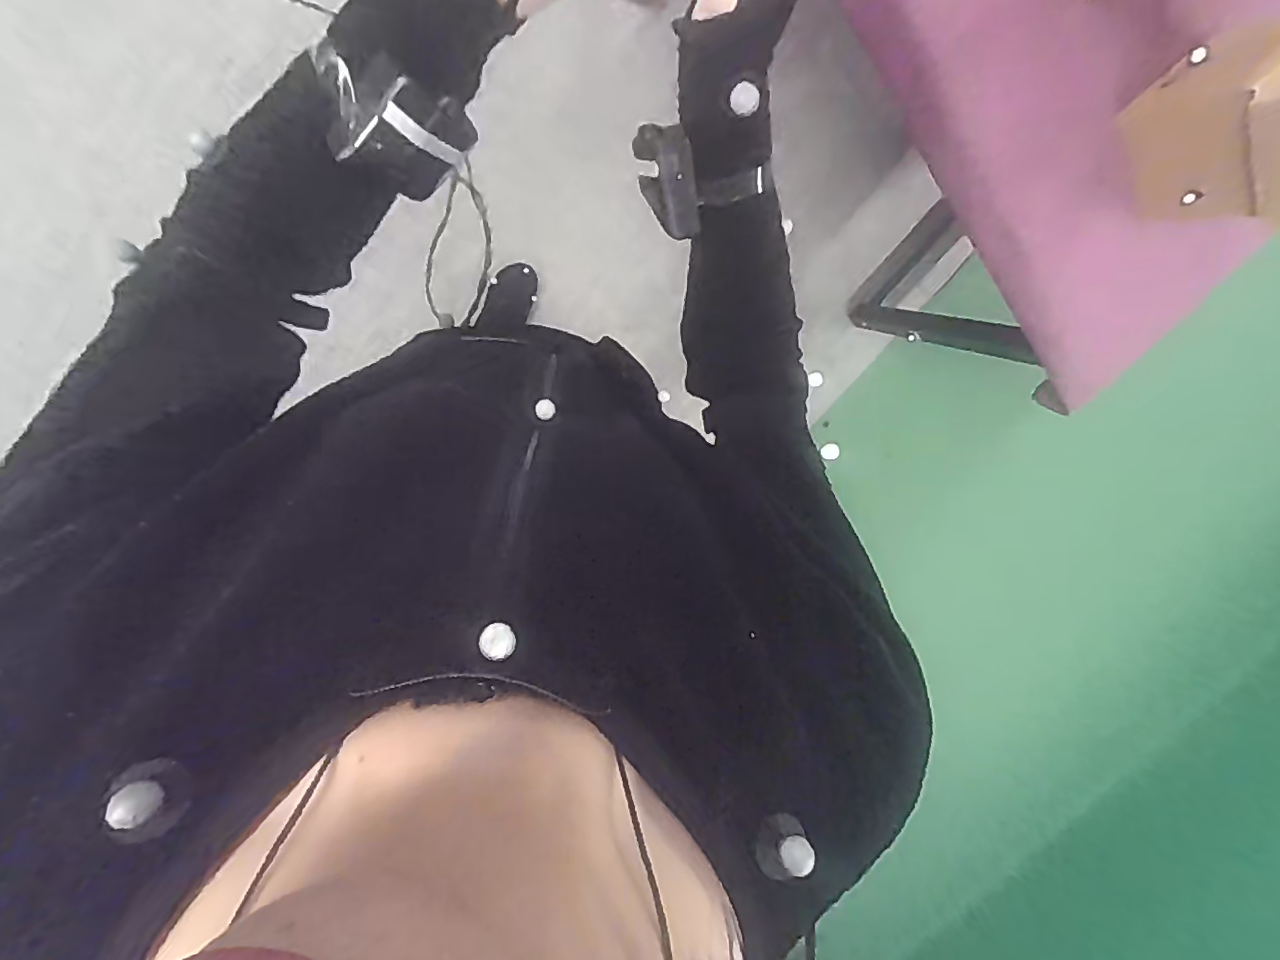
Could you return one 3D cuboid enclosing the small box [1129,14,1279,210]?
[{"bbox_3d":[0.810,-0.485,0.716,0.168,0.176,0.179,-40,116,4],"label":"small box"}]

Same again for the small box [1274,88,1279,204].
[{"bbox_3d":[0.845,-0.406,0.575,0.168,0.176,0.179,-41,117,4],"label":"small box"}]
